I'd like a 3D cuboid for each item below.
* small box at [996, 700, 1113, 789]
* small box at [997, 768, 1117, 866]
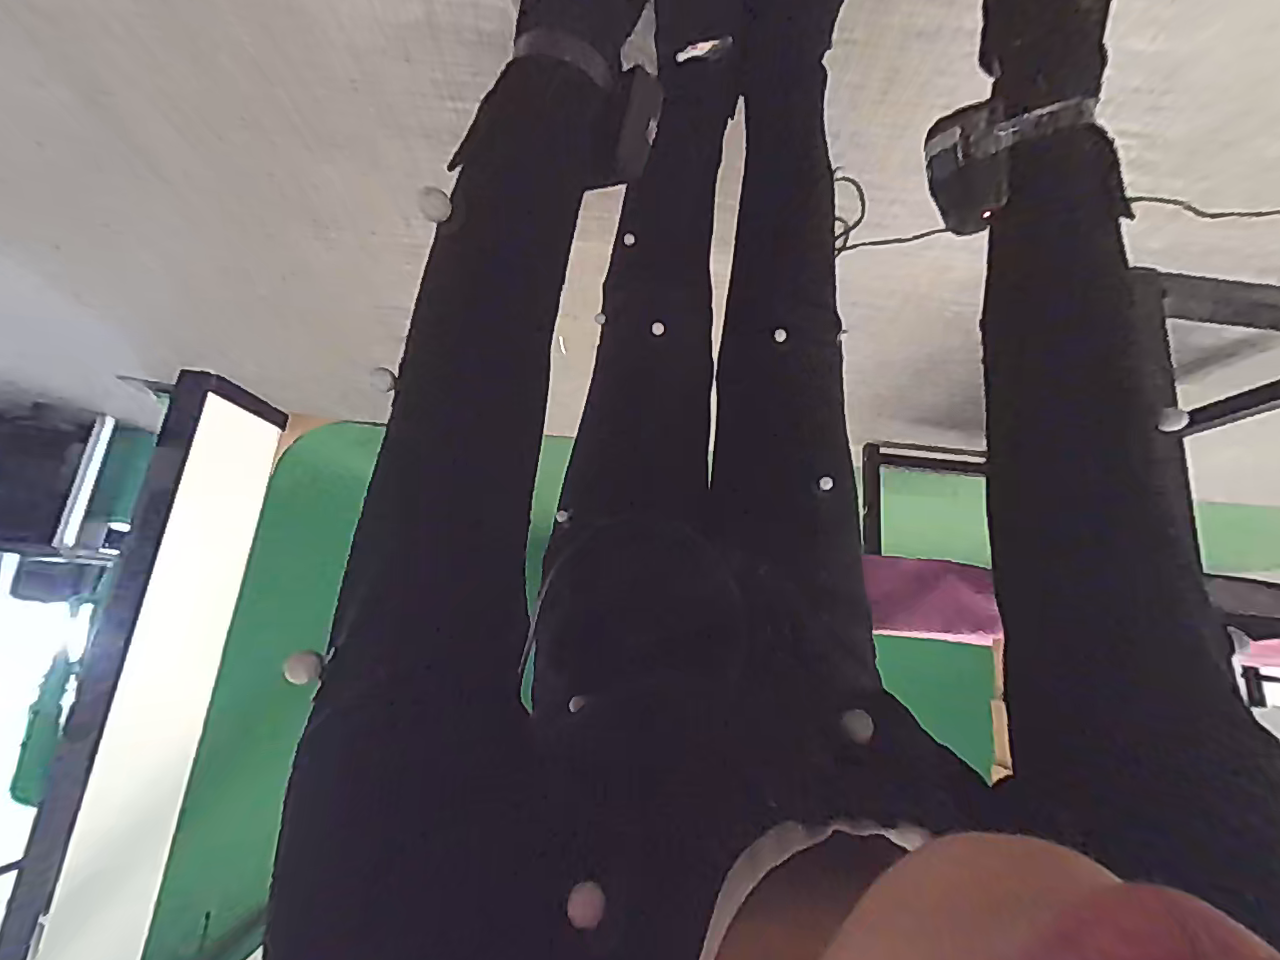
[{"bbox_3d":[1.057,0.674,1.392,0.179,0.176,0.168,7,164,-3],"label":"small box"},{"bbox_3d":[1.031,0.832,1.353,0.179,0.176,0.168,6,165,-4],"label":"small box"}]
